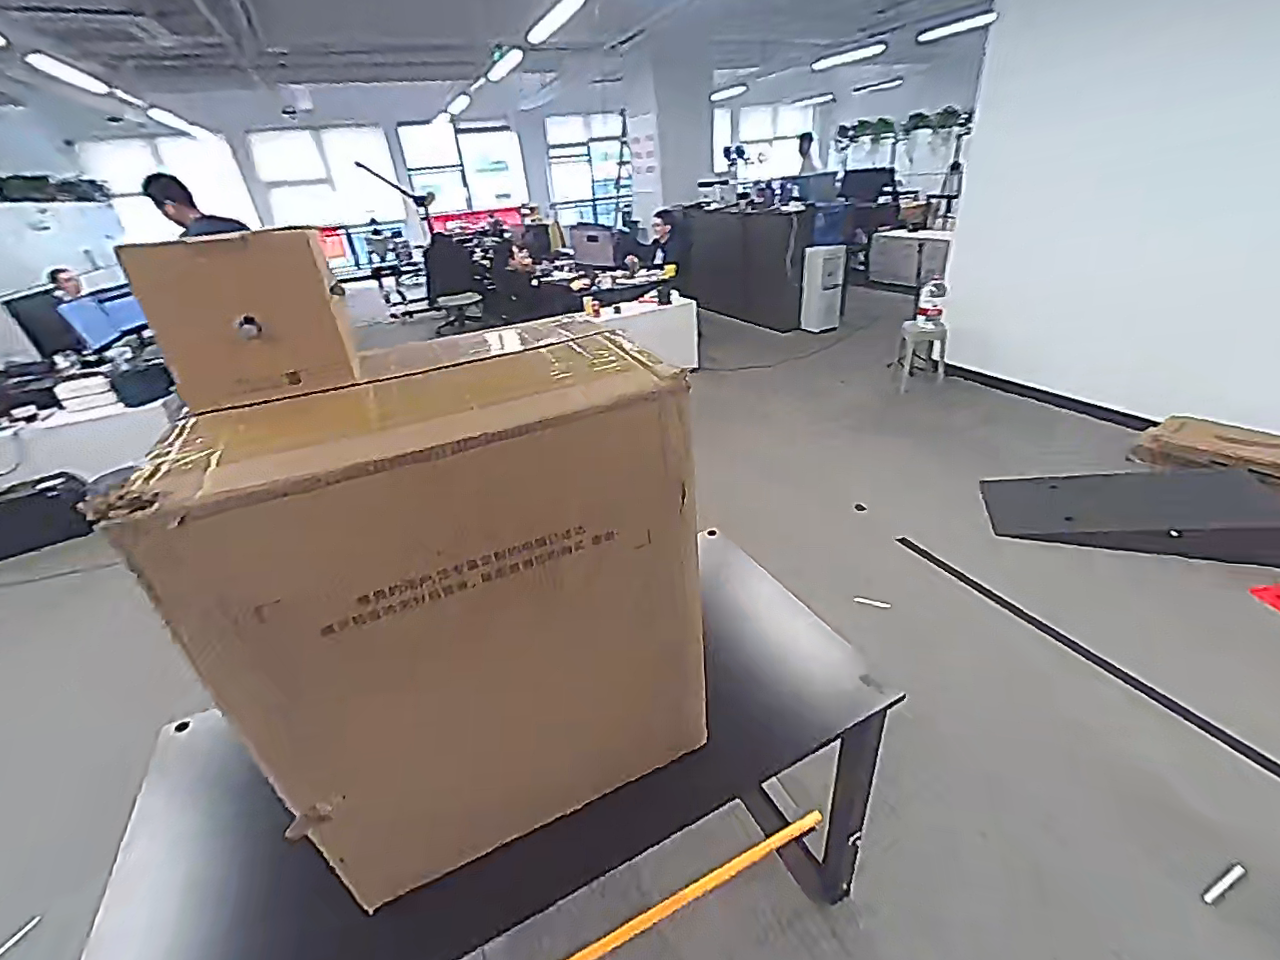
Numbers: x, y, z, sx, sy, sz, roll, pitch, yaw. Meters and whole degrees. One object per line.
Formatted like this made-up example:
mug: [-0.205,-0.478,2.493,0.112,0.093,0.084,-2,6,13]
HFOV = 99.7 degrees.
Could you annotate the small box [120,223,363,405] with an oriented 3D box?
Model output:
small box: [-0.434,-0.195,0.629,0.168,0.176,0.179,-16,30,-20]
